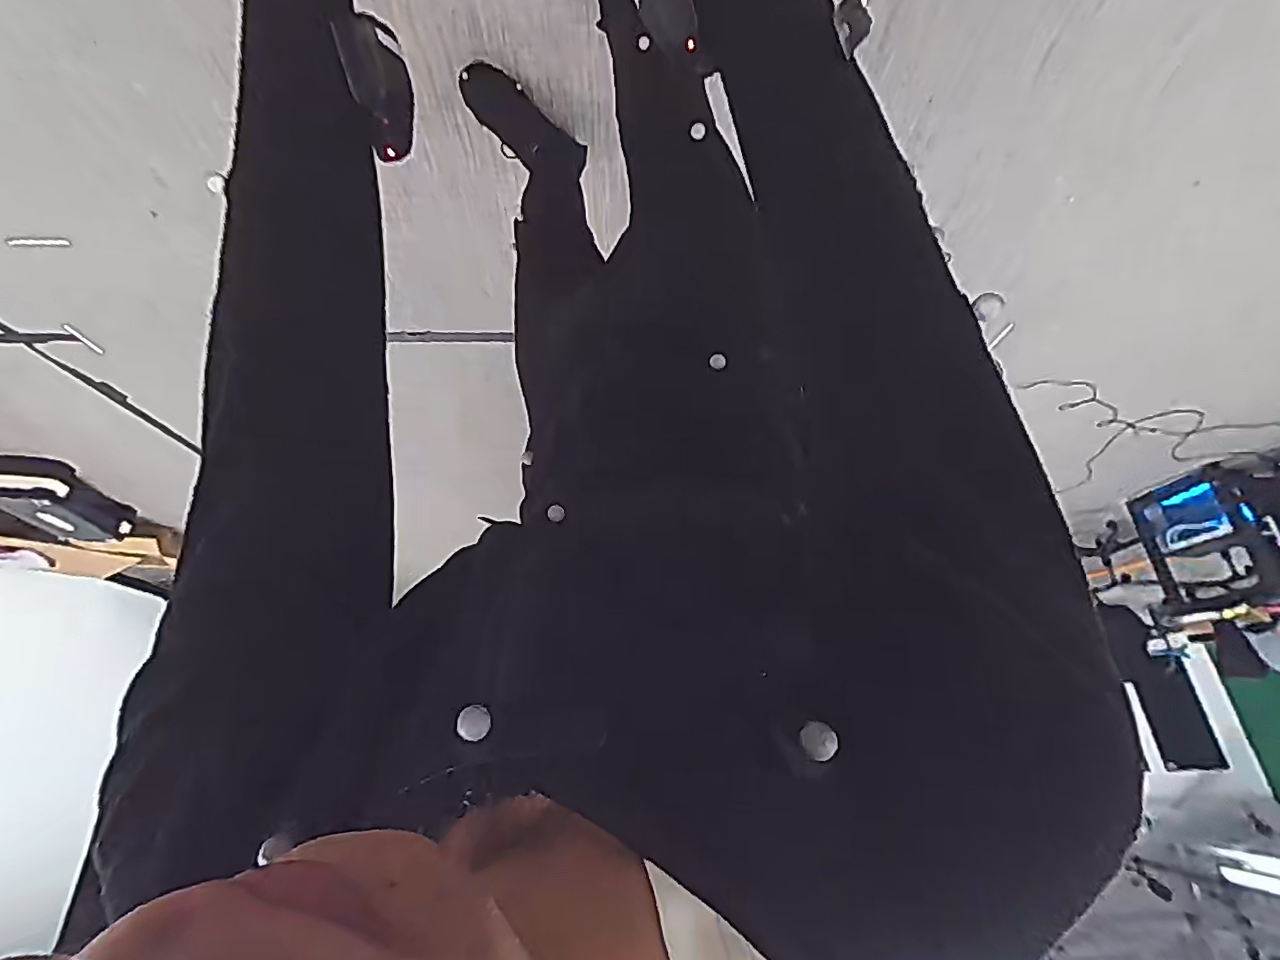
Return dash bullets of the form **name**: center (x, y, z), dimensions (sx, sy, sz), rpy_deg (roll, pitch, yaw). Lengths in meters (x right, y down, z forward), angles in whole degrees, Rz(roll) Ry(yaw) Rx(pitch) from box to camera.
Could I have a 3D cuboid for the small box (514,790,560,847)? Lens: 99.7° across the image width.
- **small box**: center (-0.408, 1.347, 2.162), dimensions (0.168, 0.176, 0.179), rpy_deg (0, 155, -7)
